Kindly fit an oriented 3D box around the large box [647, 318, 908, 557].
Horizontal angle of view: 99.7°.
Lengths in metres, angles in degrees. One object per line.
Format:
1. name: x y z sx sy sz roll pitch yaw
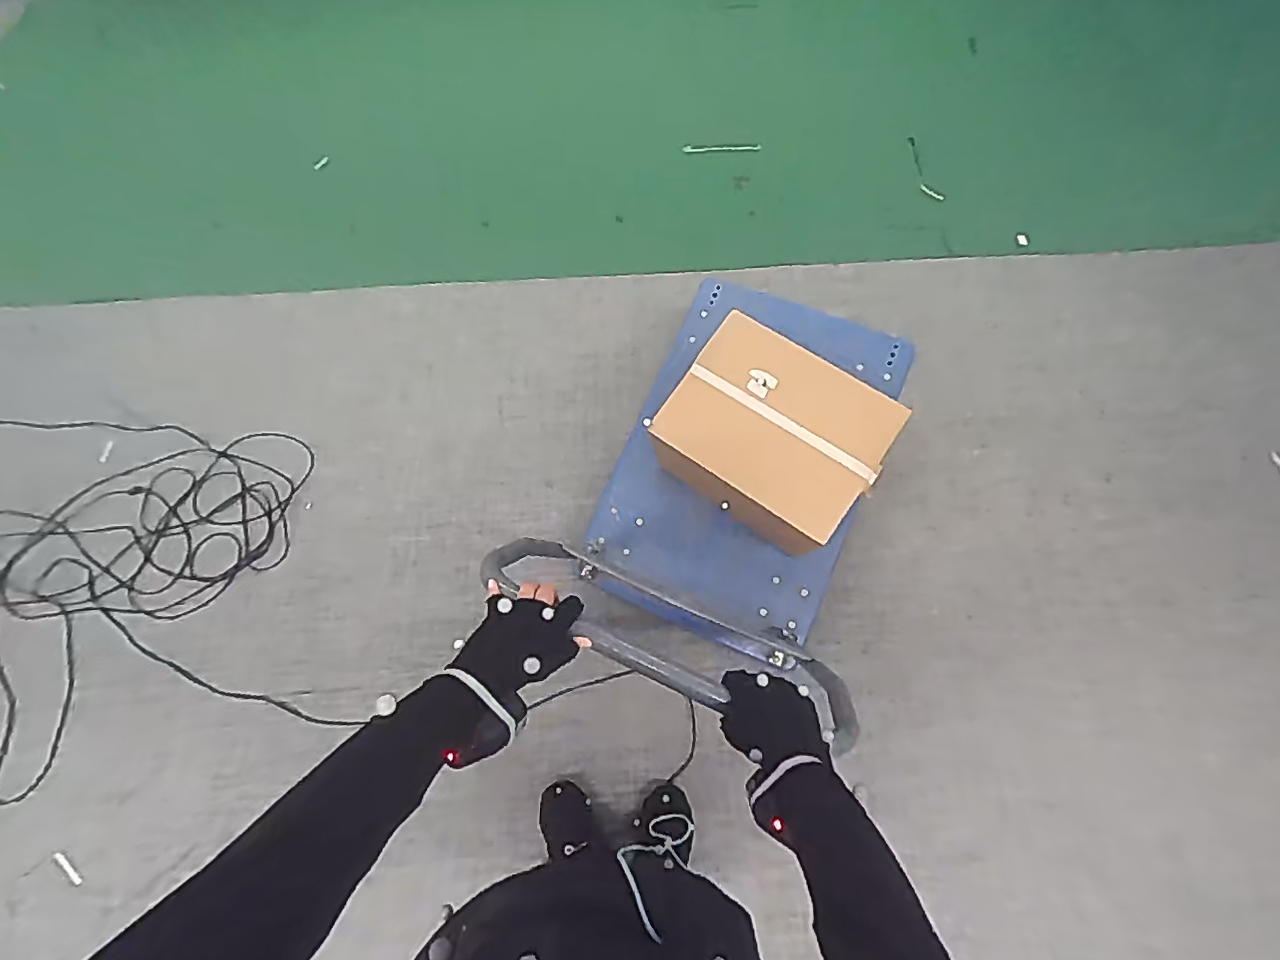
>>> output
1. large box: 0.280 -0.072 1.187 0.408 0.320 0.320 35 83 13
